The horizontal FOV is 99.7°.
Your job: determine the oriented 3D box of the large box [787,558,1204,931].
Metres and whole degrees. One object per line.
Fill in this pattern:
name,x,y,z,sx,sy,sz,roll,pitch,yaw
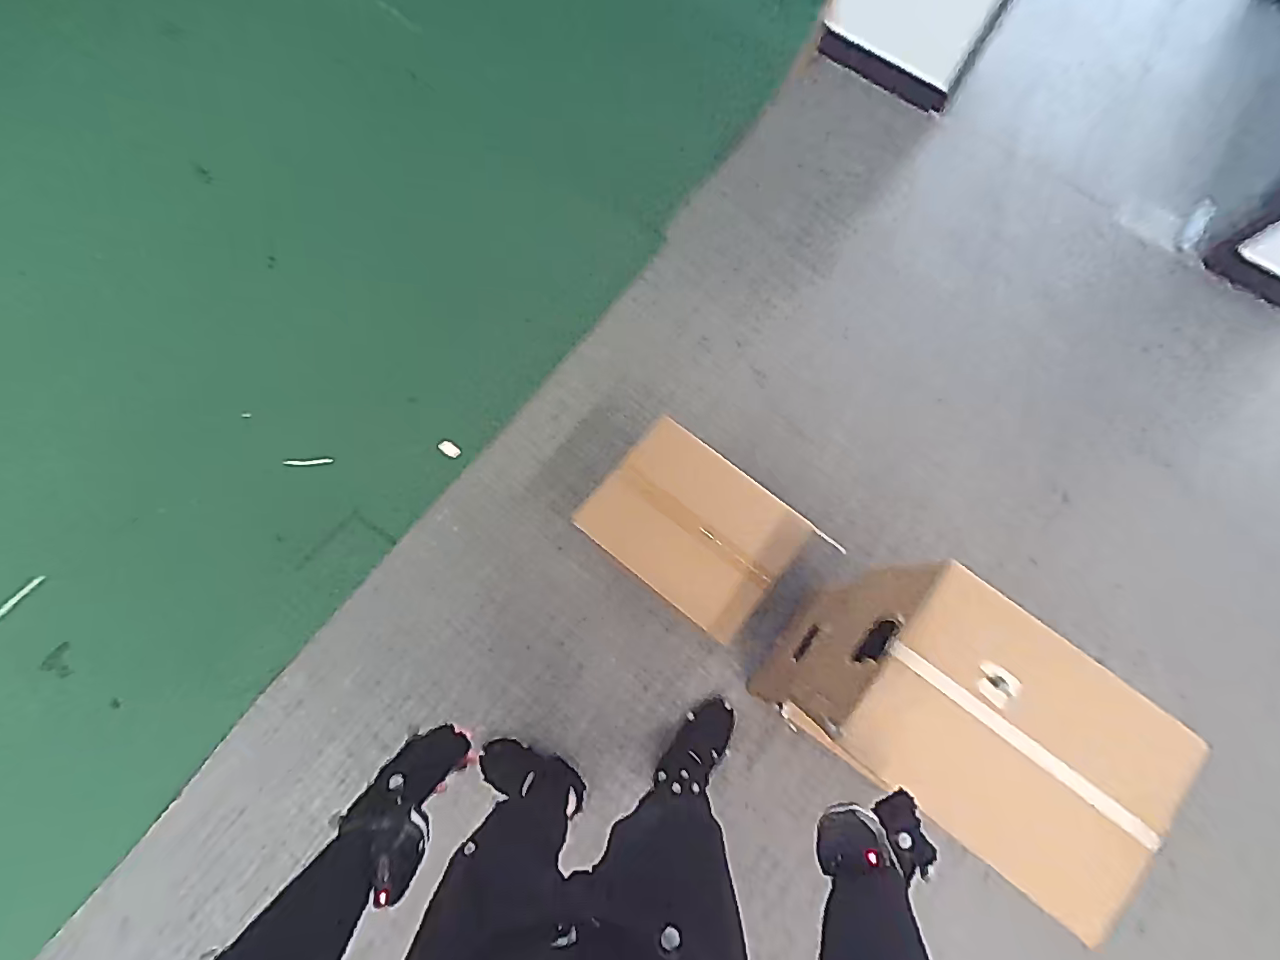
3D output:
large box,0.517,0.373,0.881,0.408,0.320,0.320,37,82,9
